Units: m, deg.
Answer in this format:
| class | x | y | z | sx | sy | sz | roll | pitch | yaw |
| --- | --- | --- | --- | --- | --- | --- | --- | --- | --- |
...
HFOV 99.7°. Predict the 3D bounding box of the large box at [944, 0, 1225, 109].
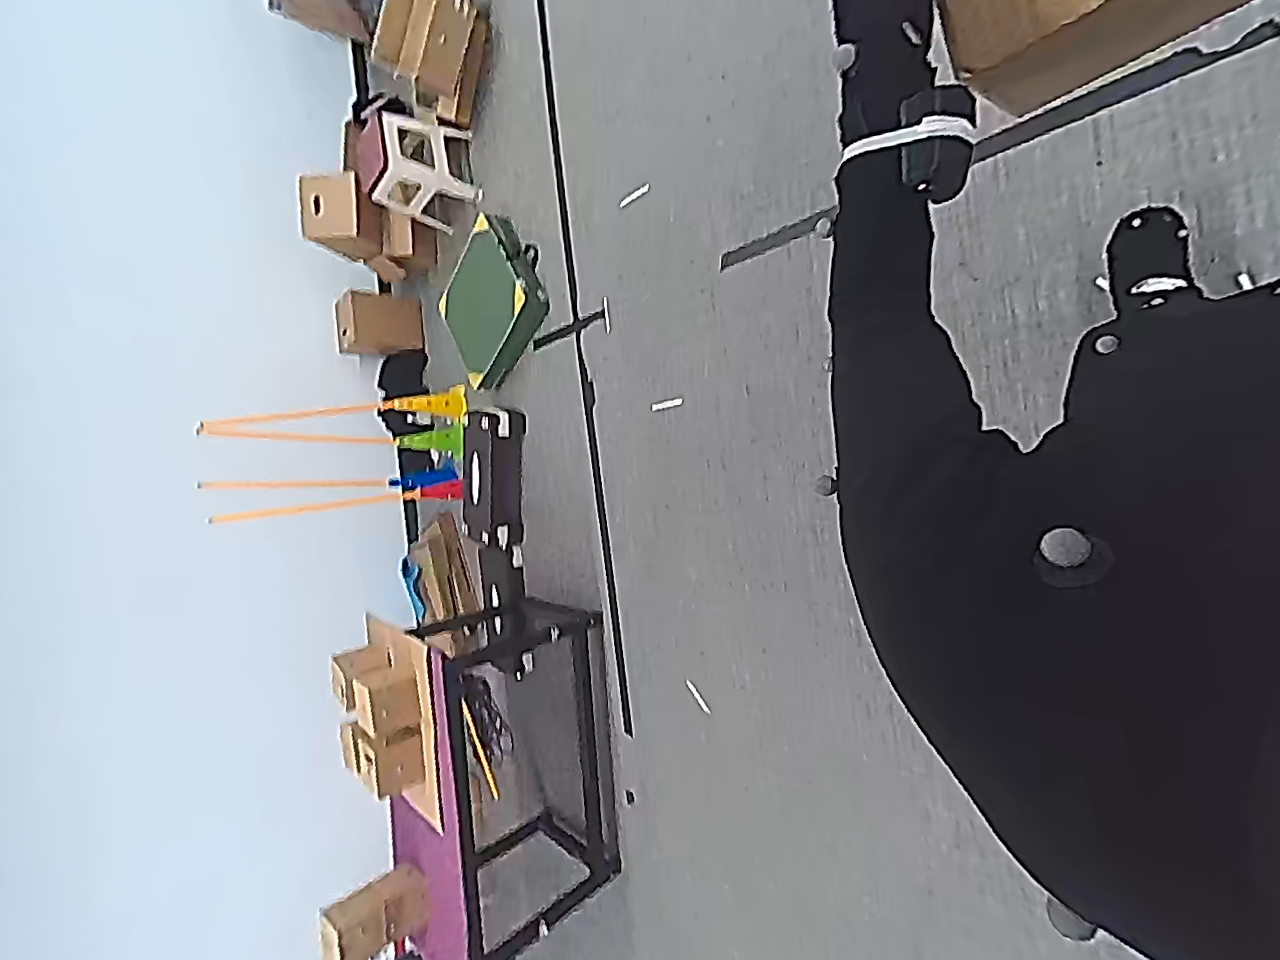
| class | x | y | z | sx | sy | sz | roll | pitch | yaw |
| --- | --- | --- | --- | --- | --- | --- | --- | --- | --- |
| large box | 0.423 | -0.541 | 0.361 | 0.408 | 0.320 | 0.320 | -12 | 104 | 44 |
